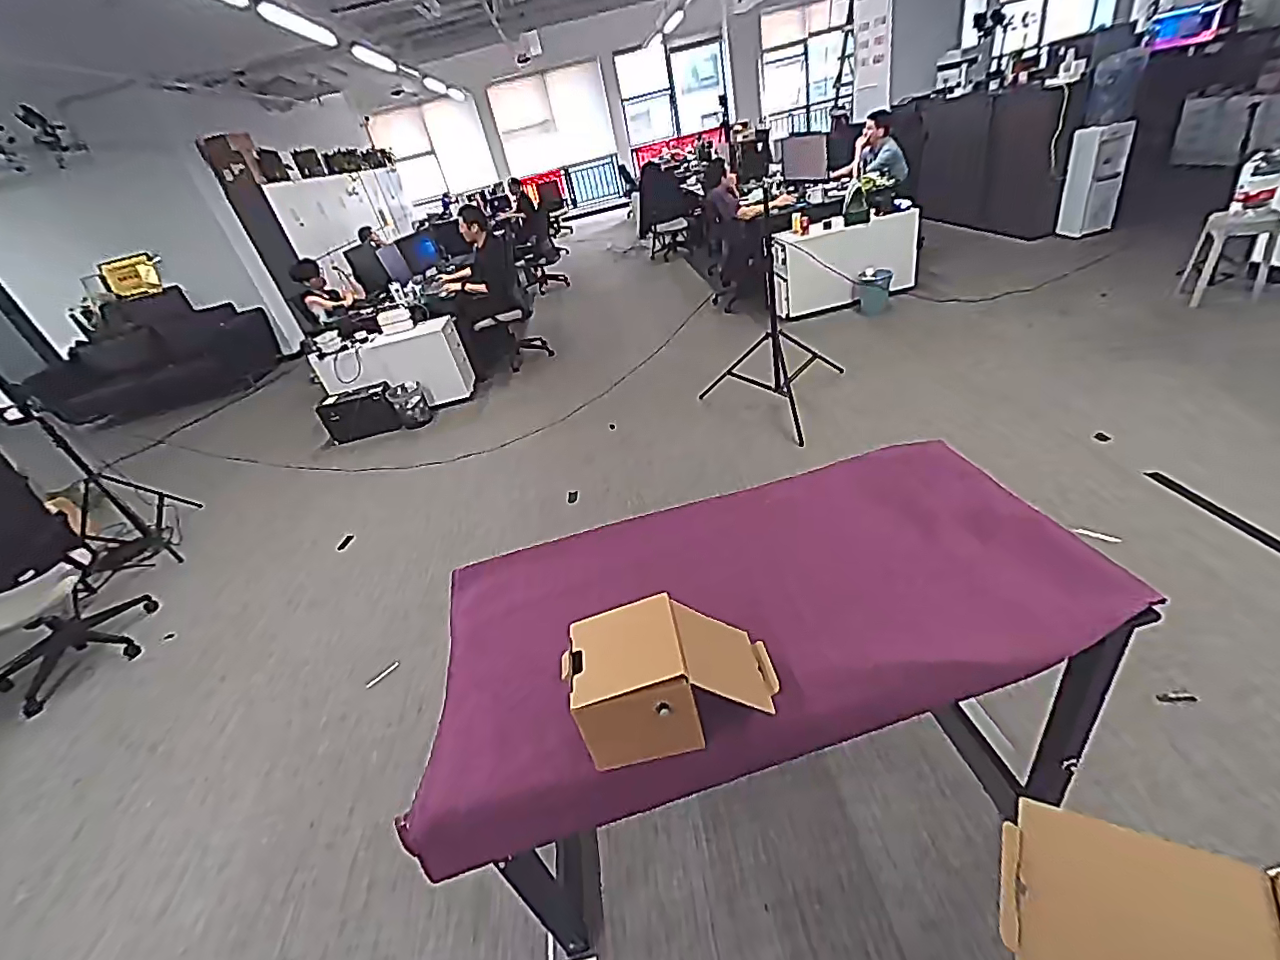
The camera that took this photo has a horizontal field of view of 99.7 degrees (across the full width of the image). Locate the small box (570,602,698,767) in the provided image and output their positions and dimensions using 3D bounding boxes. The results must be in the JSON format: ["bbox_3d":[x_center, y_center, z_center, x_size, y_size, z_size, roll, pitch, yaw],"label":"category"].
[{"bbox_3d":[-0.007,0.330,0.875,0.179,0.176,0.168,-14,32,1],"label":"small box"}]
